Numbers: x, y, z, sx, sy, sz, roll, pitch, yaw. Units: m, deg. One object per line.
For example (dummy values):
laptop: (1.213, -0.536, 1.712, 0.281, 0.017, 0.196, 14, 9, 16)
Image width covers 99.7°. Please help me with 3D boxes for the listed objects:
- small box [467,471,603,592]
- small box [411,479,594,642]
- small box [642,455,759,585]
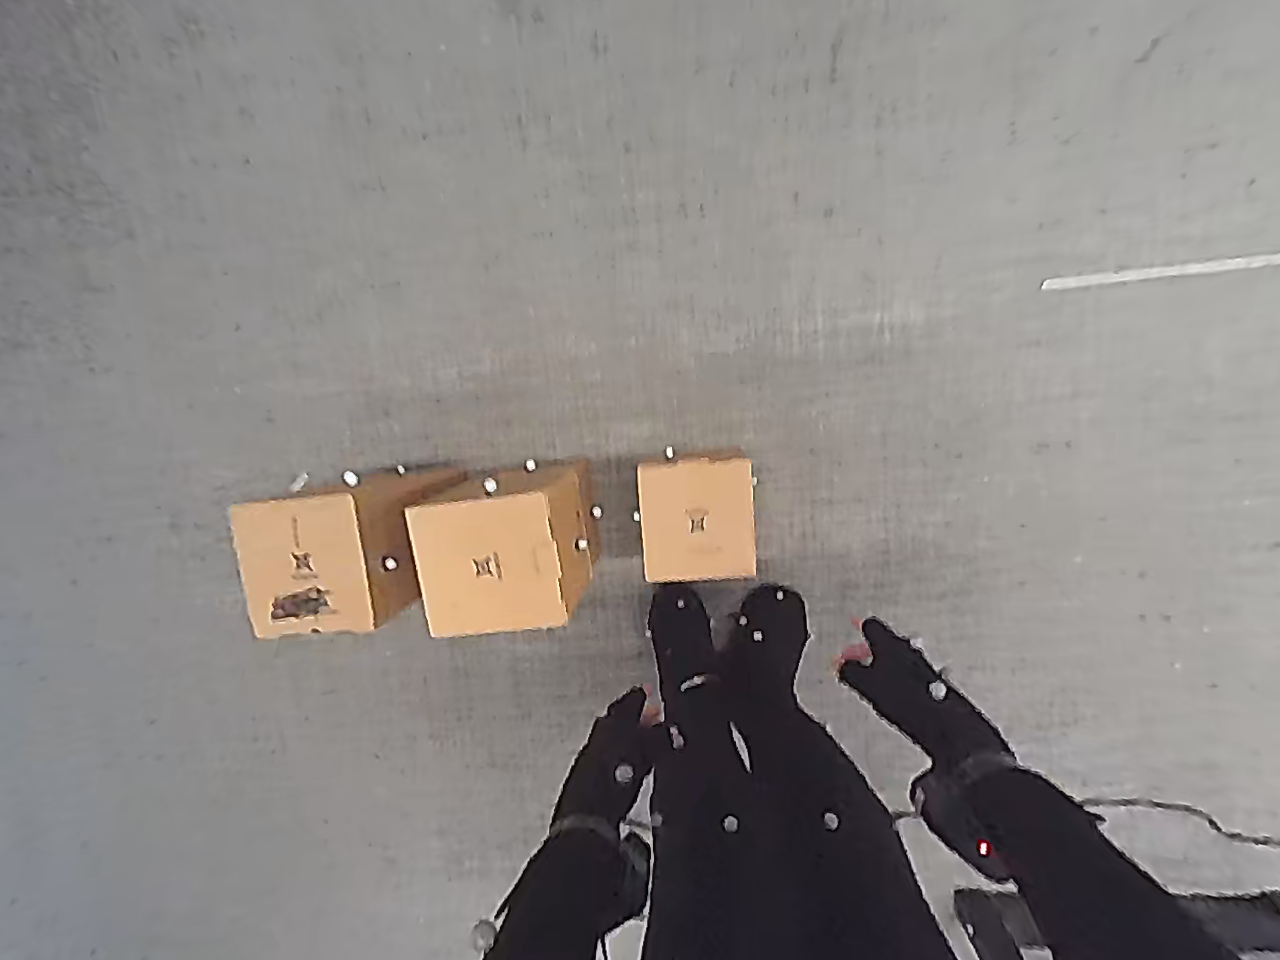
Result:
small box: (-0.161, 0.081, 0.884, 0.168, 0.176, 0.179, -6, 97, 7)
small box: (-0.171, 0.098, 0.723, 0.179, 0.176, 0.168, -8, 98, 6)
small box: (0.093, 0.054, 0.861, 0.168, 0.176, 0.179, -4, 98, 6)
